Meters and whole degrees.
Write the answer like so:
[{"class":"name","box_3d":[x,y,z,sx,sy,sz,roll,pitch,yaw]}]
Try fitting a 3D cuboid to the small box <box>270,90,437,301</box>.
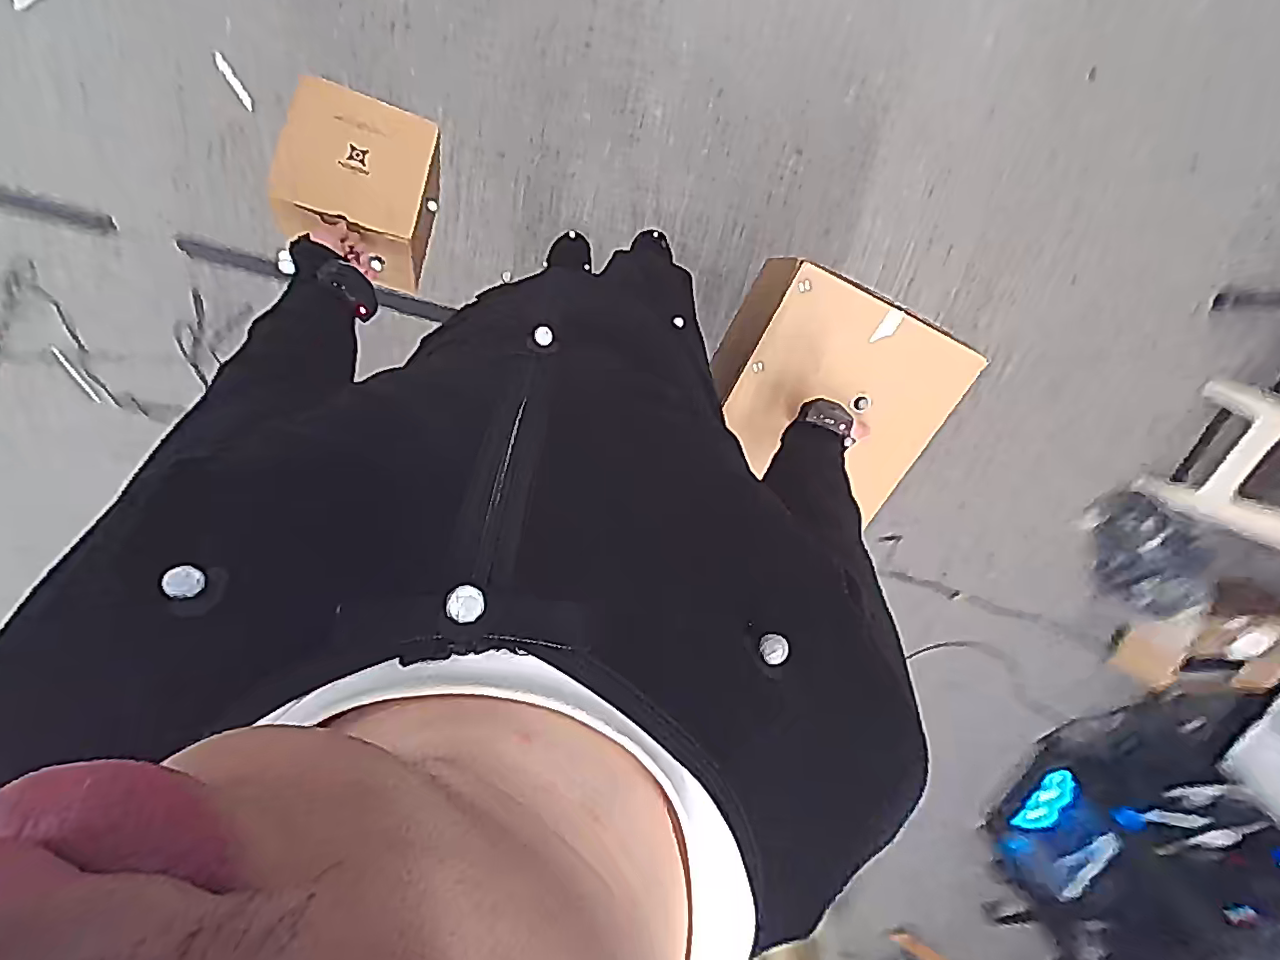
[{"class":"small box","box_3d":[-0.386,-0.381,0.762,0.168,0.176,0.179,11,79,-20]}]
